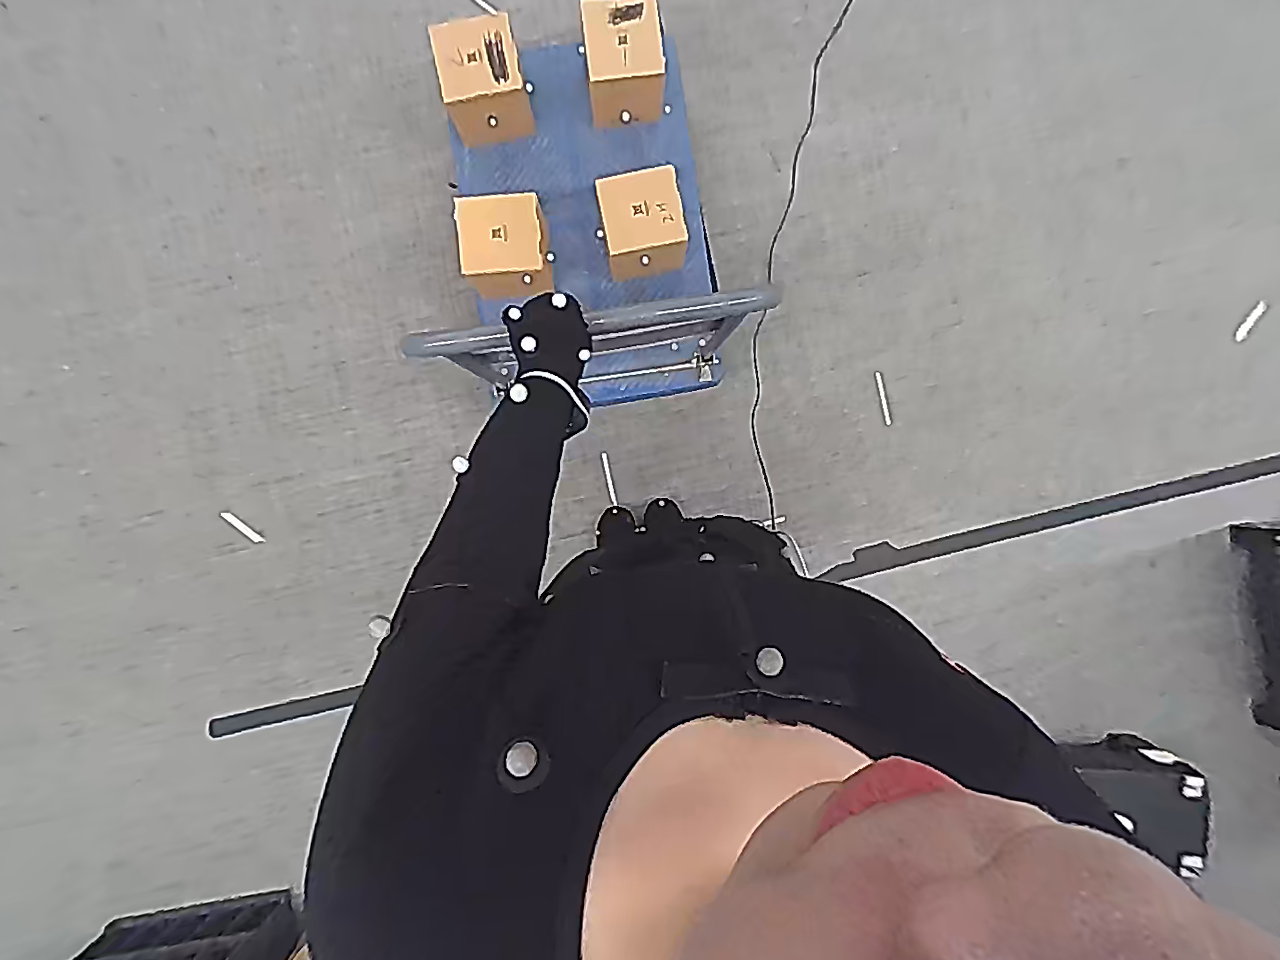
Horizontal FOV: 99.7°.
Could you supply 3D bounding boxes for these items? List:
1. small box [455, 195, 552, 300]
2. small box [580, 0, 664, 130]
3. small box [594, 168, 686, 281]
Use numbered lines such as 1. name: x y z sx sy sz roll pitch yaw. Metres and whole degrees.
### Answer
1. small box: -0.304 -0.520 1.233 0.179 0.176 0.168 -6 90 -3
2. small box: -0.042 -0.942 1.234 0.168 0.176 0.179 -8 92 -1
3. small box: 0.001 -0.574 1.238 0.179 0.176 0.168 -11 91 -1
